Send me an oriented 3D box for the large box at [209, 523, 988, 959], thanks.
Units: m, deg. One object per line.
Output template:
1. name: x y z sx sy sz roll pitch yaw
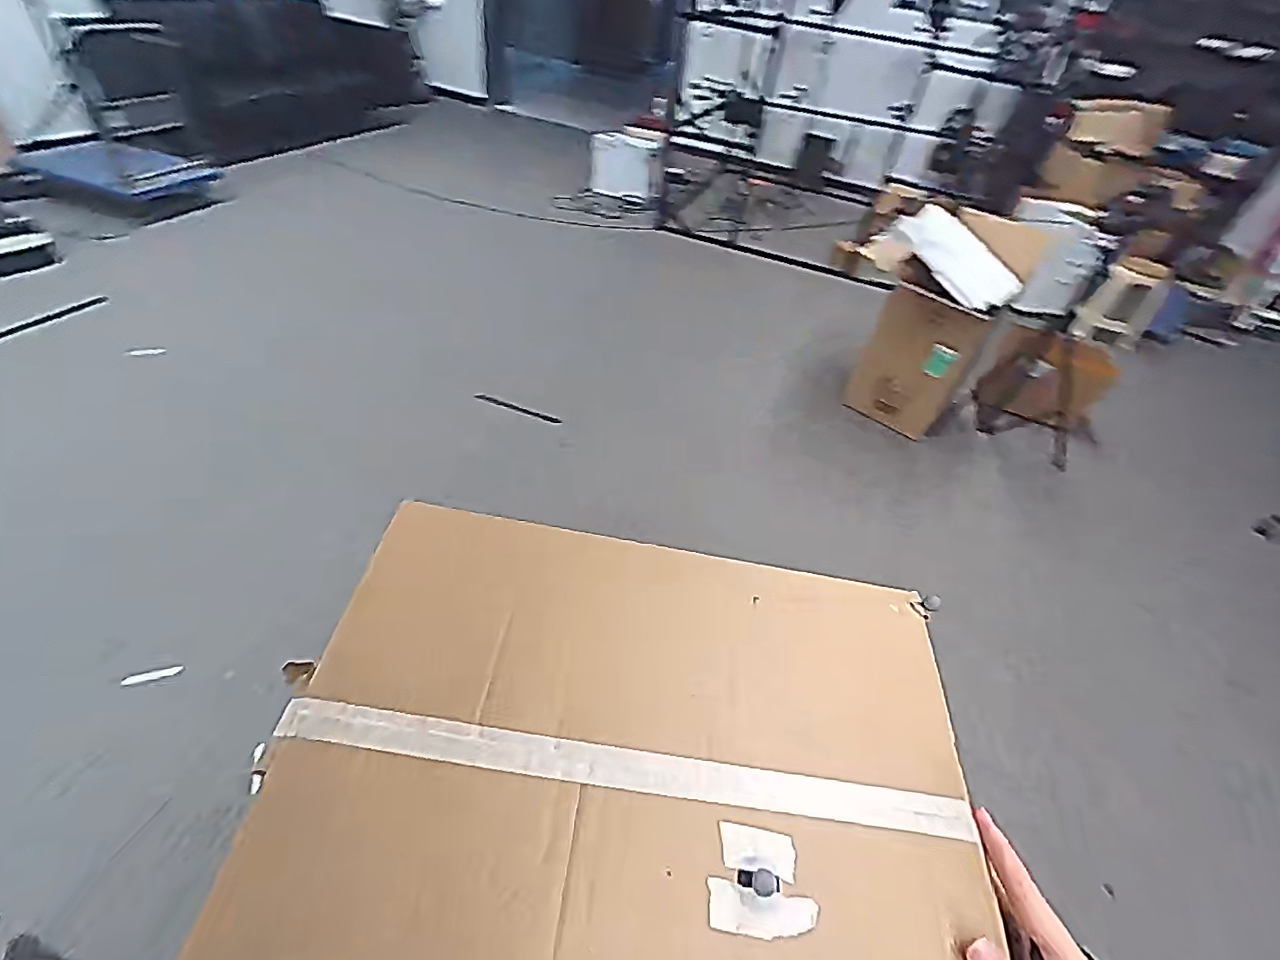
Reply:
1. large box: -0.023 0.272 0.441 0.408 0.320 0.320 10 51 -4
